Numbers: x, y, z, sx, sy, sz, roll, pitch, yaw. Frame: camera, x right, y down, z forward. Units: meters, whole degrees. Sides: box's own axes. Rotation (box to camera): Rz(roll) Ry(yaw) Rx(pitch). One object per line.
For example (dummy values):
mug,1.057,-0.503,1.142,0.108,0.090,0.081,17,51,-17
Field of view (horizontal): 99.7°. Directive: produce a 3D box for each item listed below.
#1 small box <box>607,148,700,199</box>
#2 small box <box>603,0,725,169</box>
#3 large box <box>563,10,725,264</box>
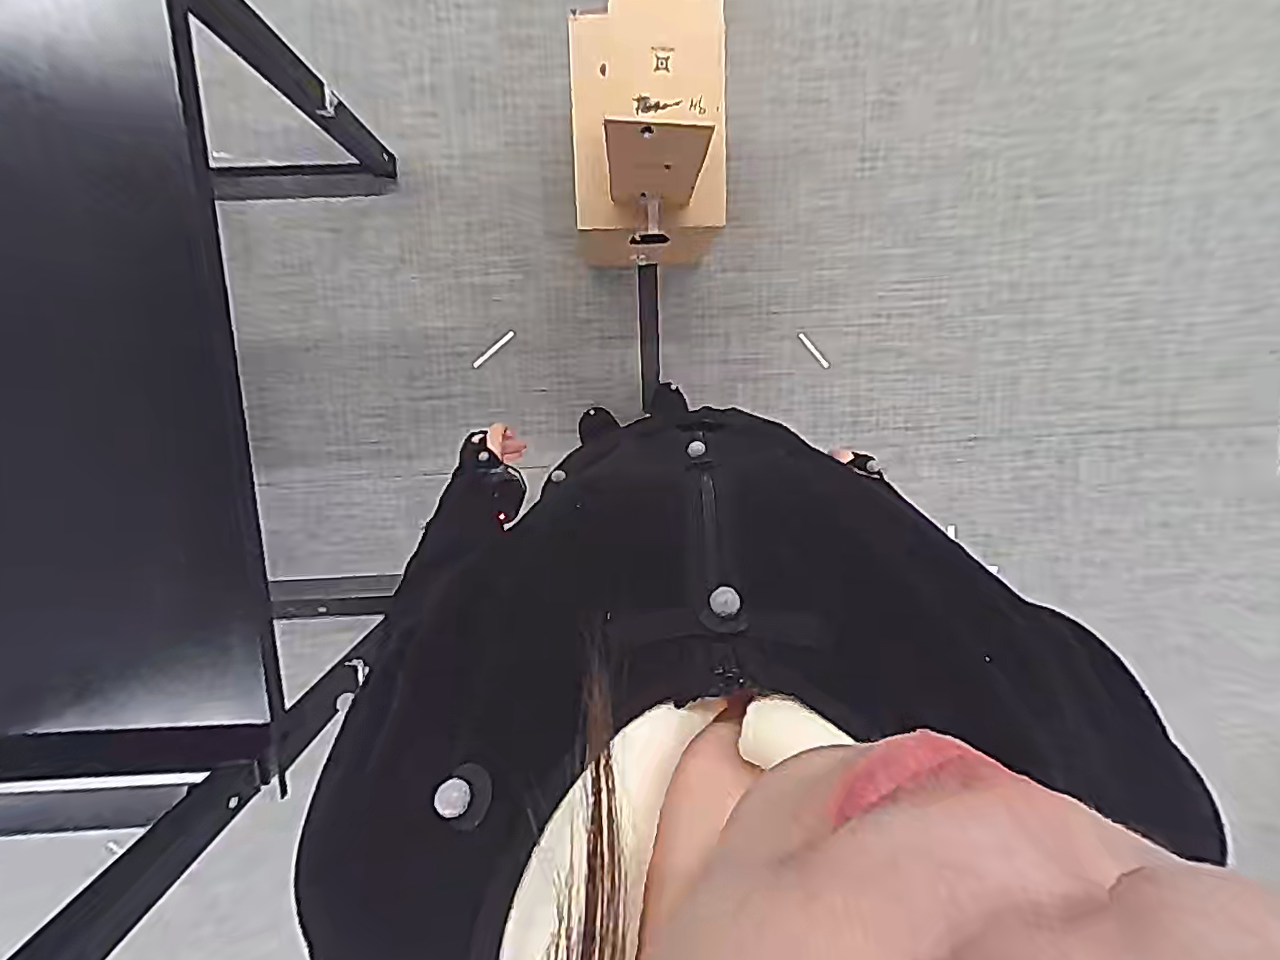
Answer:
small box,0.023,-0.646,1.000,0.168,0.176,0.179,2,99,-2
small box,0.031,-0.617,0.839,0.168,0.176,0.179,3,98,-1
large box,0.007,-0.743,1.232,0.320,0.320,0.408,-3,98,-3
